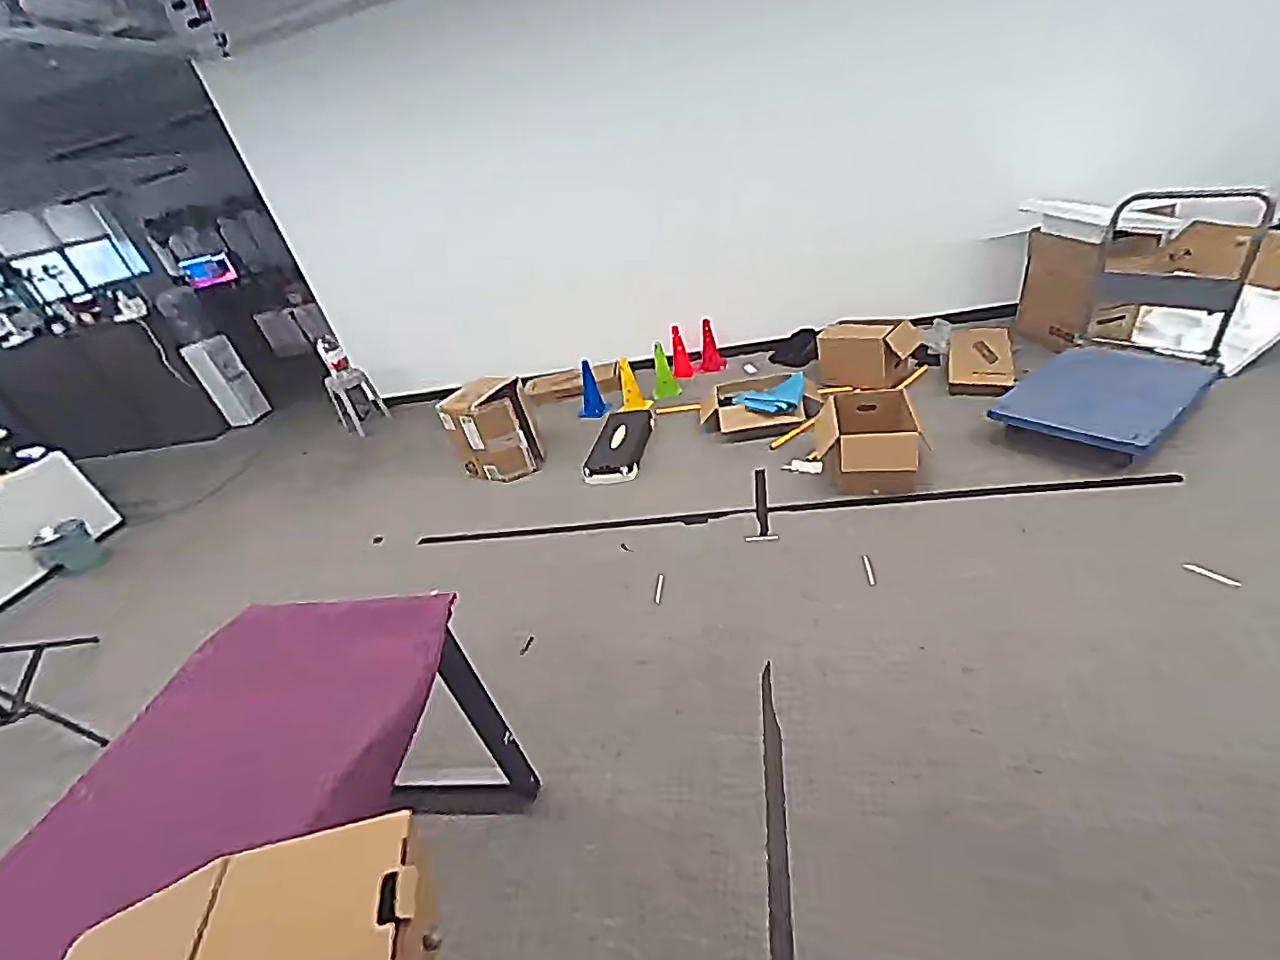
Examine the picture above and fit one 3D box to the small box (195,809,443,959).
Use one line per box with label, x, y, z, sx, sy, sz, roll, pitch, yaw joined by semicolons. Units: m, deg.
small box;-0.310;0.474;0.542;0.179;0.176;0.168;-6;34;-11
